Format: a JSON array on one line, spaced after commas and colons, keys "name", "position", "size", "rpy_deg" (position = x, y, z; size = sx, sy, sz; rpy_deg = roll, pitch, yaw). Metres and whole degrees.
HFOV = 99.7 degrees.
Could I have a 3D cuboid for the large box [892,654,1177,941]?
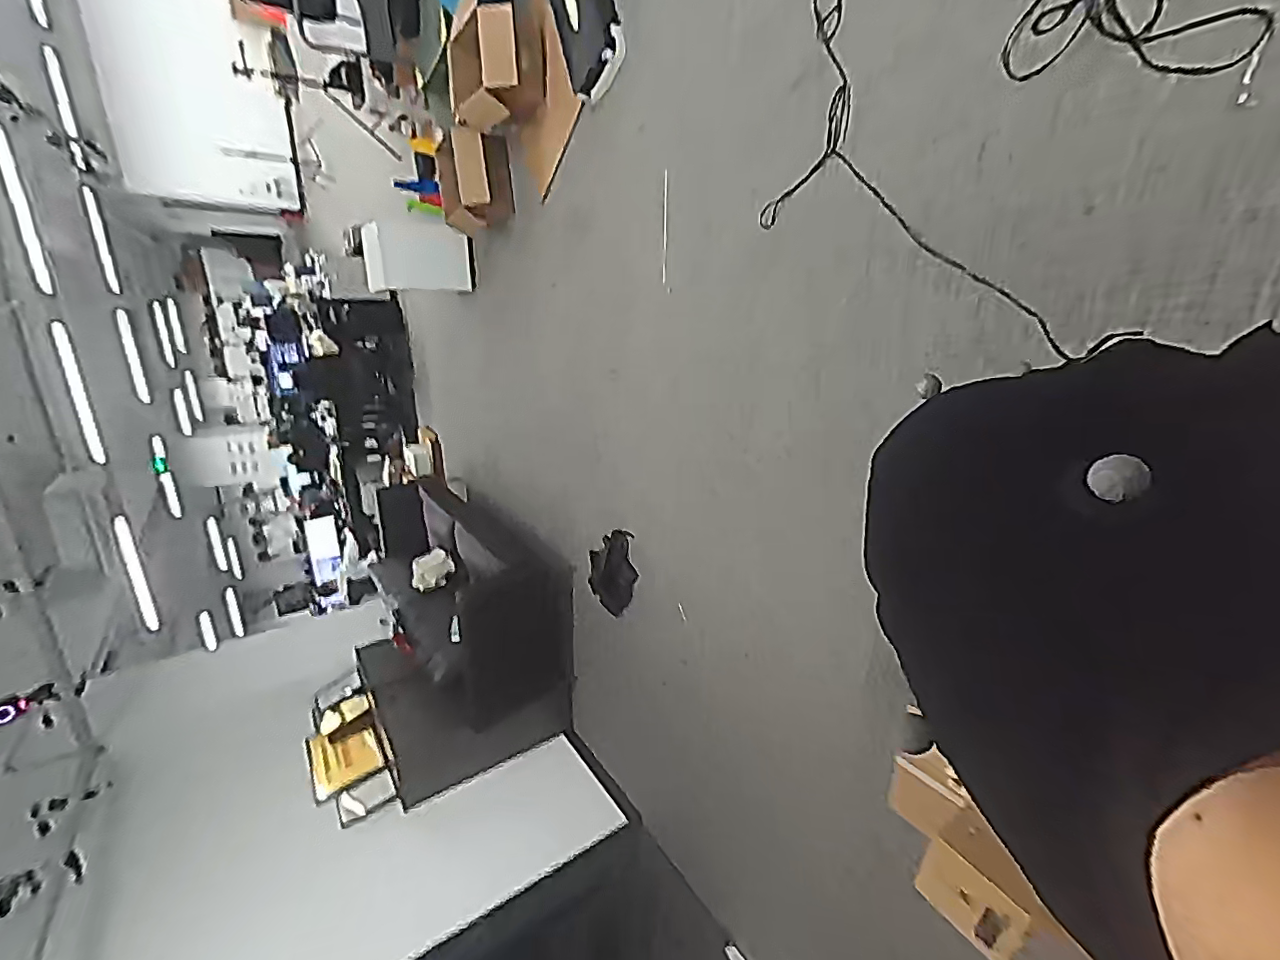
[{"name": "large box", "position": [0.860, 0.666, 1.216], "size": [0.408, 0.320, 0.320], "rpy_deg": [26, 120, 51]}]
